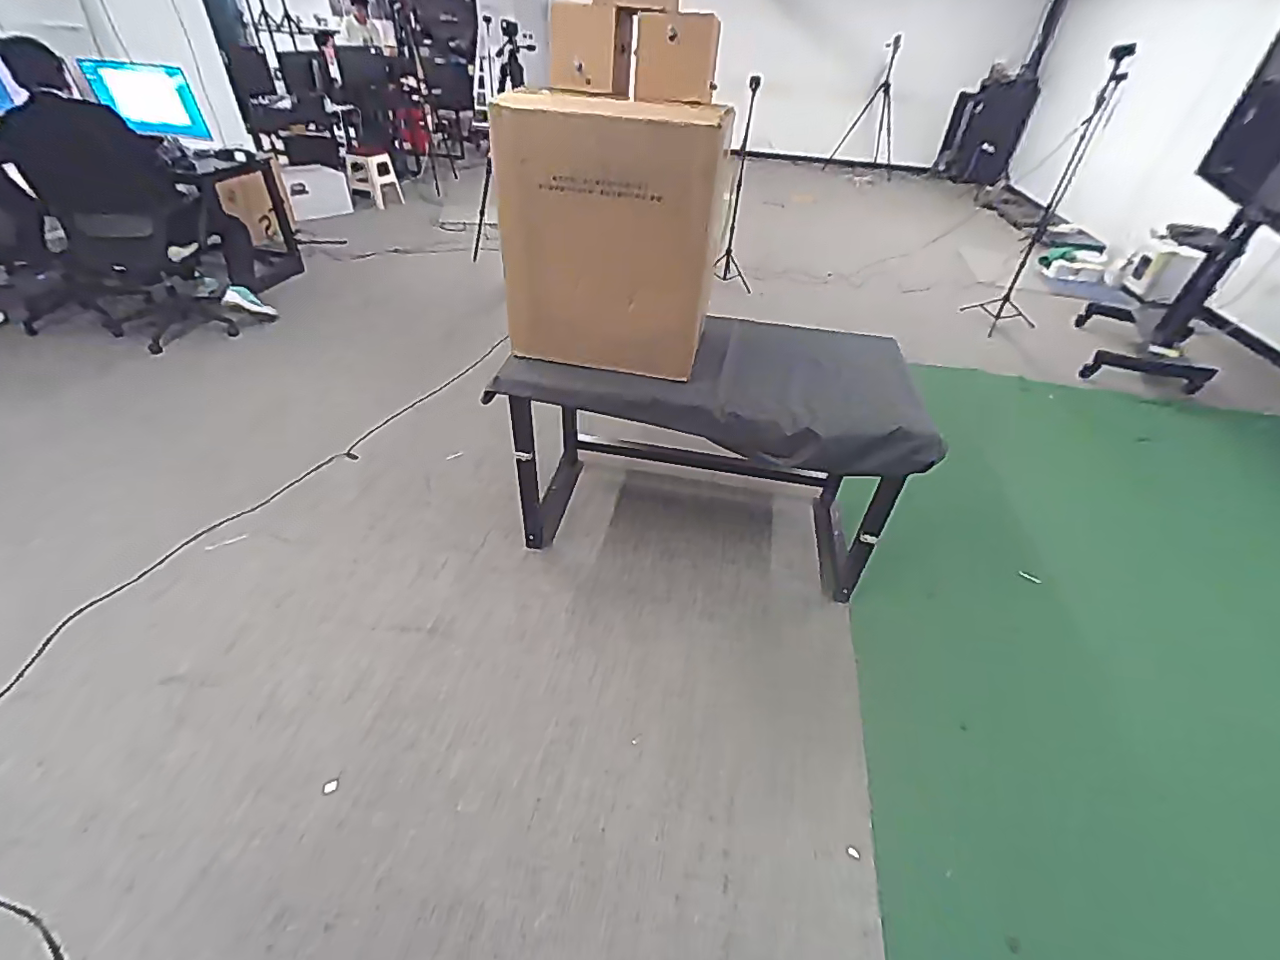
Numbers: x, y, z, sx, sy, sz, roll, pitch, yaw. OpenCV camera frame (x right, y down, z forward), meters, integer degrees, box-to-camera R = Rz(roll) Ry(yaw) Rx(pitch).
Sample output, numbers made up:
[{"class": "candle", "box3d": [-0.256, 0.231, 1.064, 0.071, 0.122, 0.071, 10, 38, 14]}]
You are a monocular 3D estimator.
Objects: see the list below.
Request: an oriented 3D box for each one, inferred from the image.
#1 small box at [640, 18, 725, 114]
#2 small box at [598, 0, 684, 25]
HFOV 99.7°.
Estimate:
[{"class": "small box", "box3d": [0.103, -1.010, 1.329, 0.179, 0.176, 0.168, 11, 37, 7]}, {"class": "small box", "box3d": [0.011, -1.168, 1.251, 0.179, 0.176, 0.168, 12, 35, 8]}]
